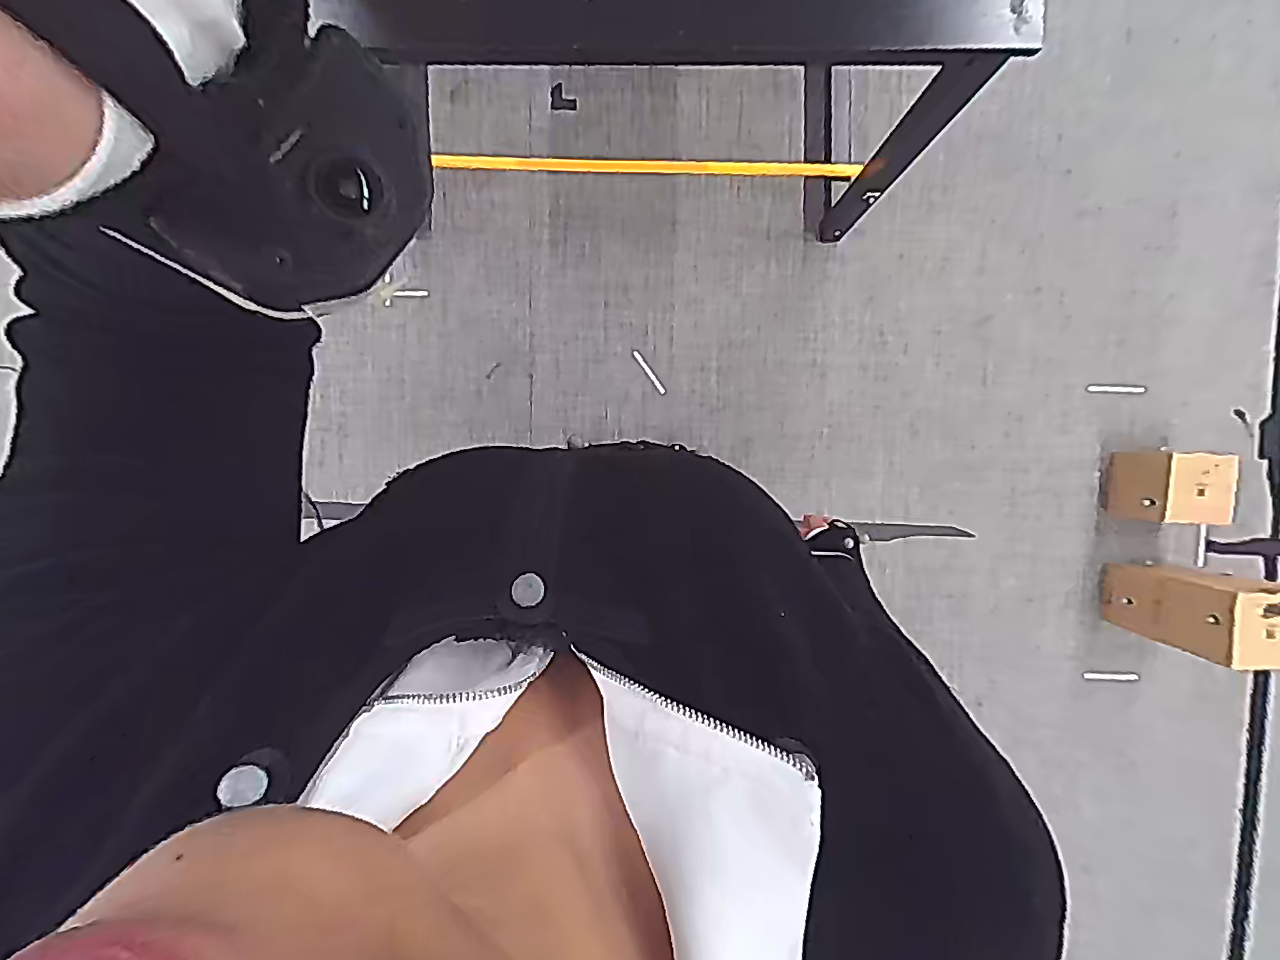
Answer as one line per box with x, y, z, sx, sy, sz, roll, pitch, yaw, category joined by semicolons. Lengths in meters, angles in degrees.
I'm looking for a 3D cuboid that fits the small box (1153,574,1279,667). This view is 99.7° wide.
1.364;0.321;1.269;0.168;0.176;0.179;-1;94;0;small box

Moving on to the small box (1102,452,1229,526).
1.361;0.019;1.414;0.168;0.176;0.179;3;93;0;small box

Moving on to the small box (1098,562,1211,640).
1.368;0.317;1.435;0.179;0.176;0.168;-1;94;1;small box
